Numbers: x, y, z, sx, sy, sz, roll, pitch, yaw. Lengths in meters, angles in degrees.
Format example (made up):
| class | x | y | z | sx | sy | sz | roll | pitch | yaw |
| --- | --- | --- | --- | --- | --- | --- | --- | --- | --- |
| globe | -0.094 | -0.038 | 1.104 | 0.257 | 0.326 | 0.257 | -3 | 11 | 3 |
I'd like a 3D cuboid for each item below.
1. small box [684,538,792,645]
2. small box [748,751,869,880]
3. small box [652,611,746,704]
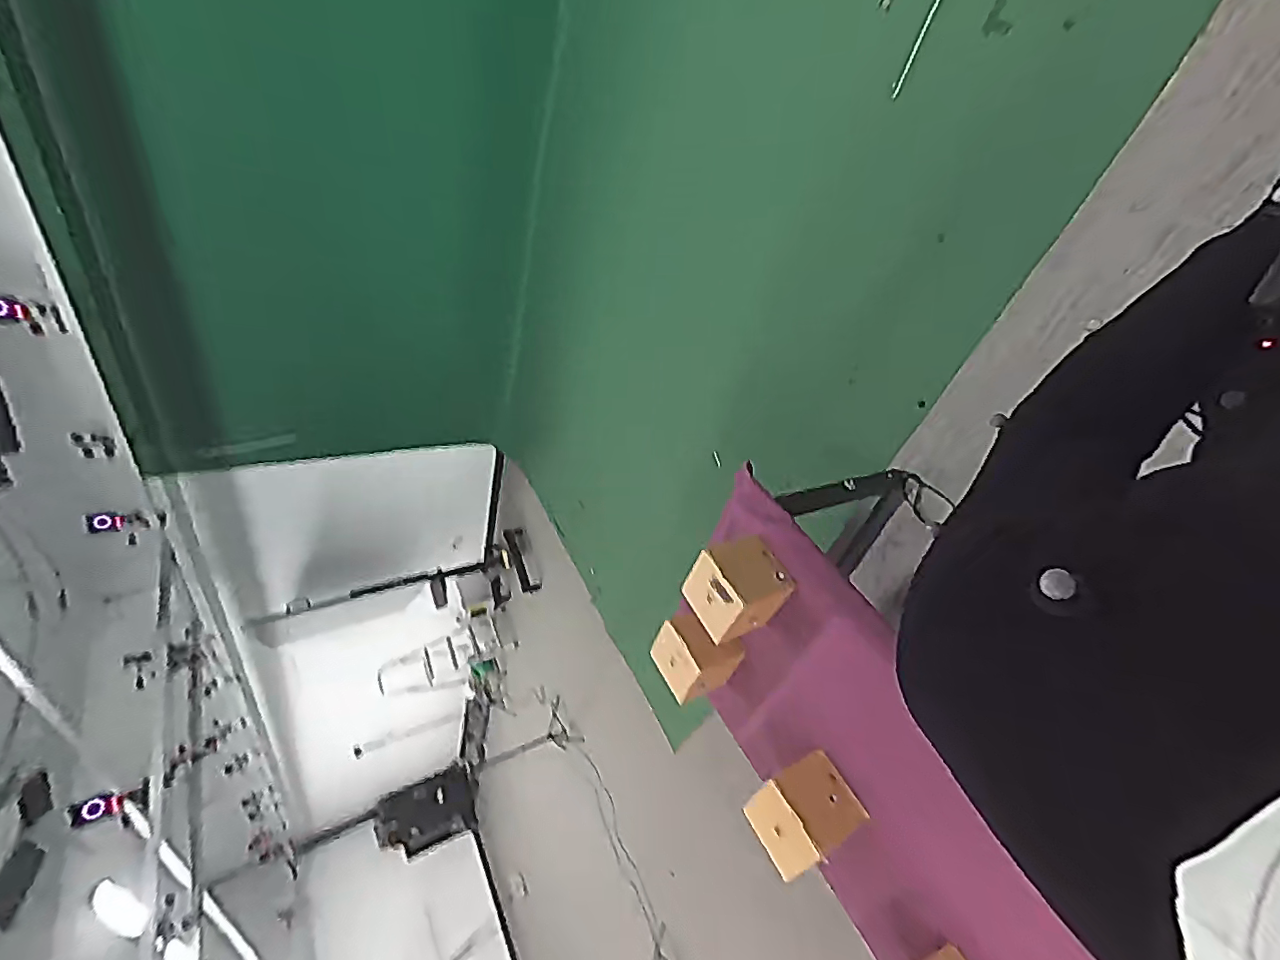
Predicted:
| class | x | y | z | sx | sy | sz | roll | pitch | yaw |
| --- | --- | --- | --- | --- | --- | --- | --- | --- | --- |
| small box | 0.239 | 0.264 | 1.312 | 0.168 | 0.176 | 0.179 | 55 | 142 | 32 |
| small box | 0.384 | 0.761 | 1.237 | 0.168 | 0.176 | 0.179 | 52 | 137 | 37 |
| small box | 0.163 | 0.479 | 1.493 | 0.168 | 0.176 | 0.179 | 52 | 138 | 35 |
